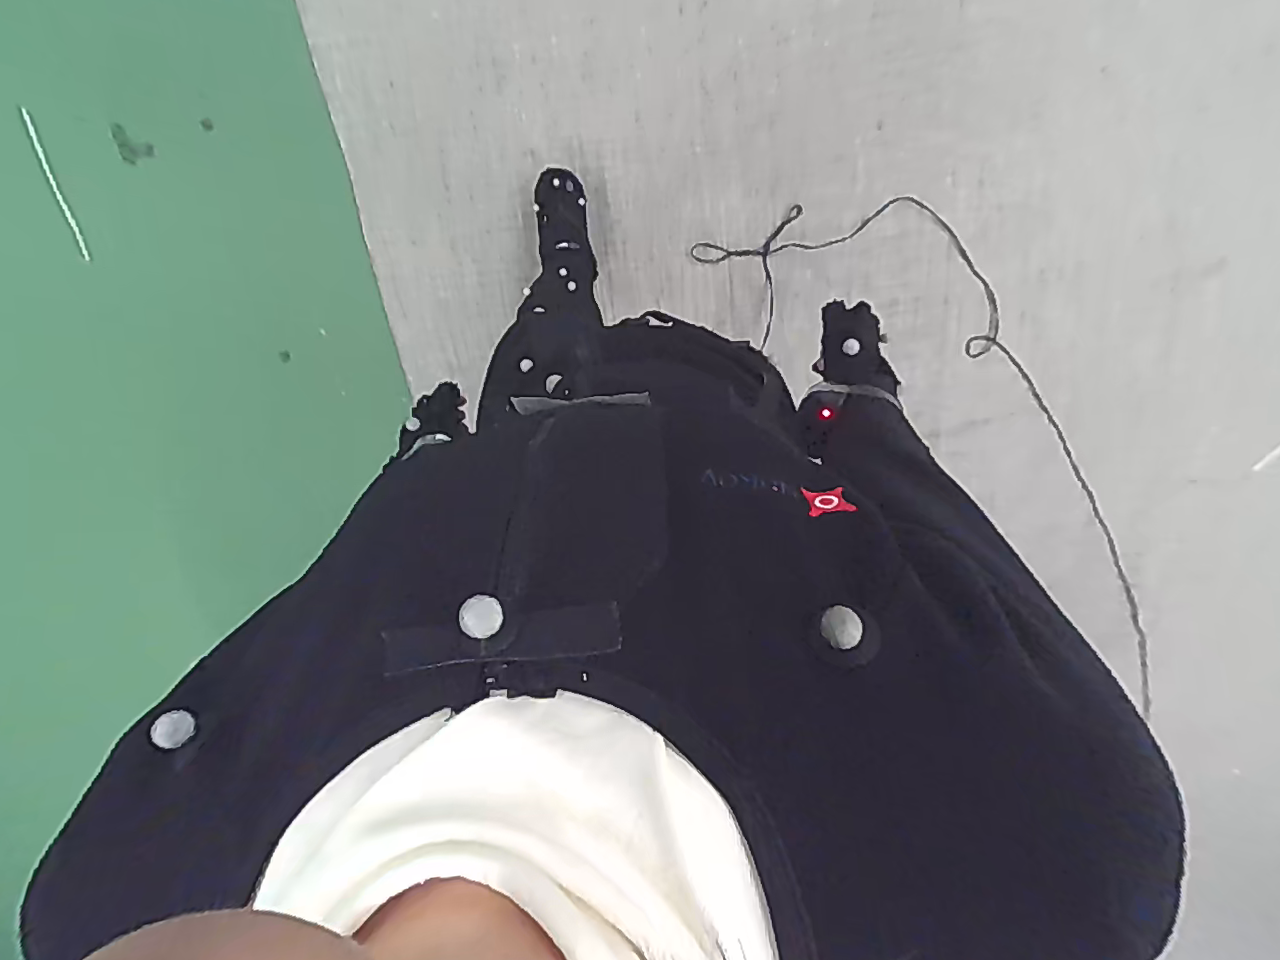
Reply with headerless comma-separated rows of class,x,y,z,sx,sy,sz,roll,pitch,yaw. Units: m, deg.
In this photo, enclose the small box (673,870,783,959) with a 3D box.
small box,0.150,0.791,0.890,0.168,0.176,0.179,-10,109,3
